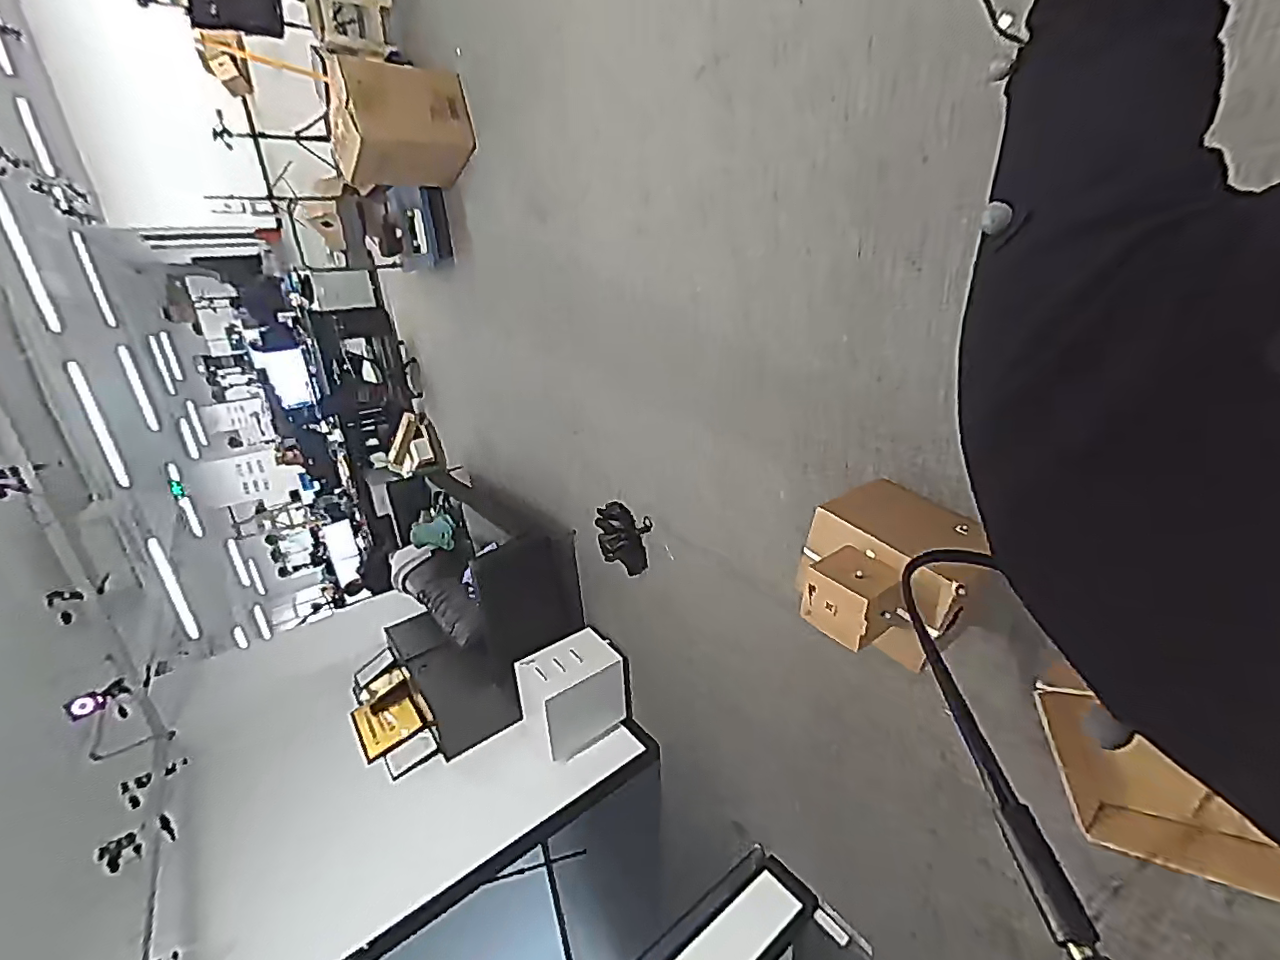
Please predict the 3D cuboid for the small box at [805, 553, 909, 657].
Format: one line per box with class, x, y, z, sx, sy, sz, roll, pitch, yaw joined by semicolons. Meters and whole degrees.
small box;0.556;0.310;1.387;0.179;0.176;0.168;30;128;46
